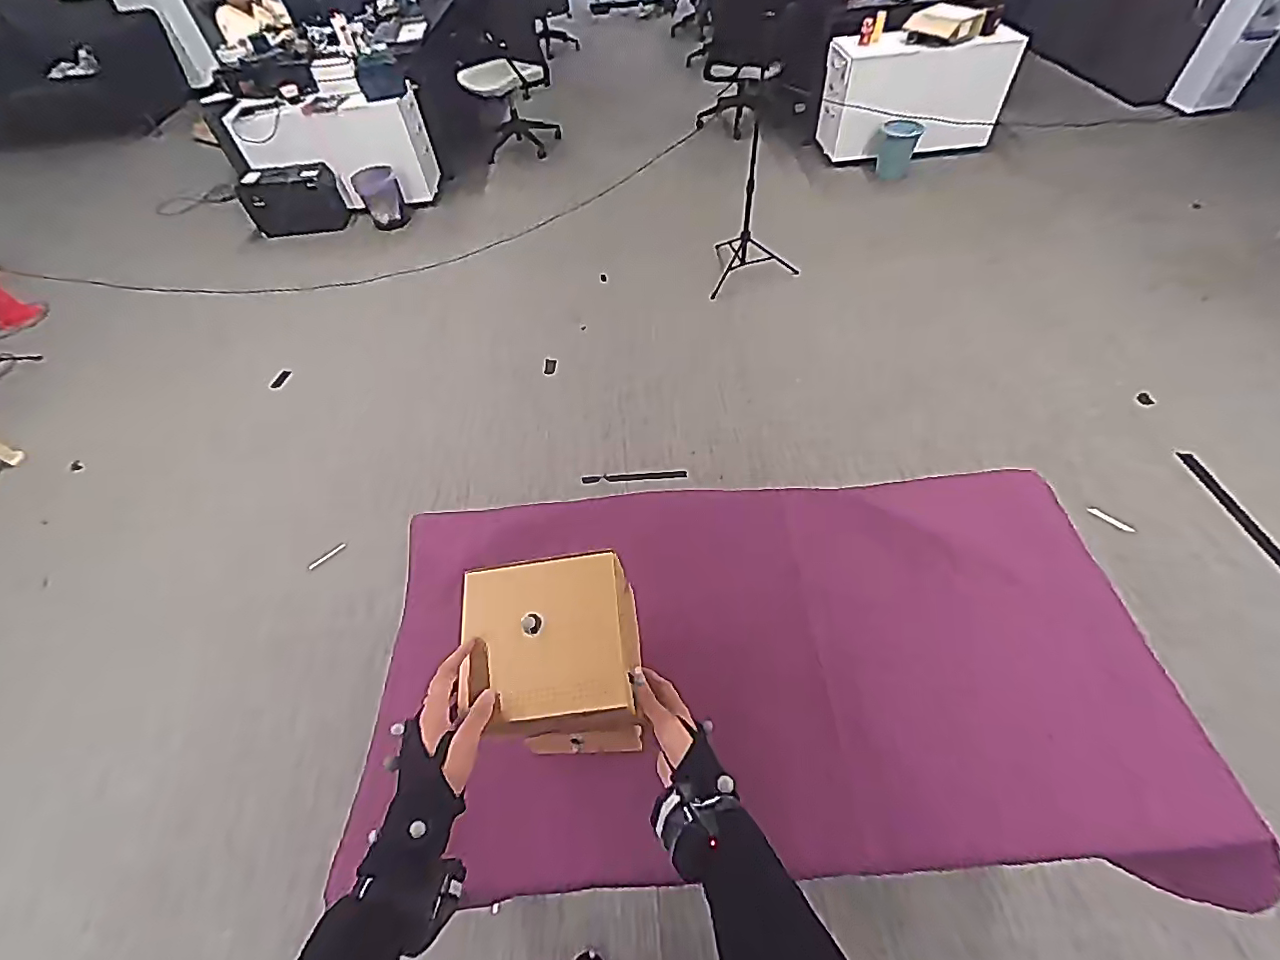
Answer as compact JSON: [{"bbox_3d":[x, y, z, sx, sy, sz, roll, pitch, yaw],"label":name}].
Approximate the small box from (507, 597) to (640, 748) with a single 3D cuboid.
[{"bbox_3d":[-0.086,0.291,0.801,0.168,0.176,0.179,-2,52,2],"label":"small box"}]
